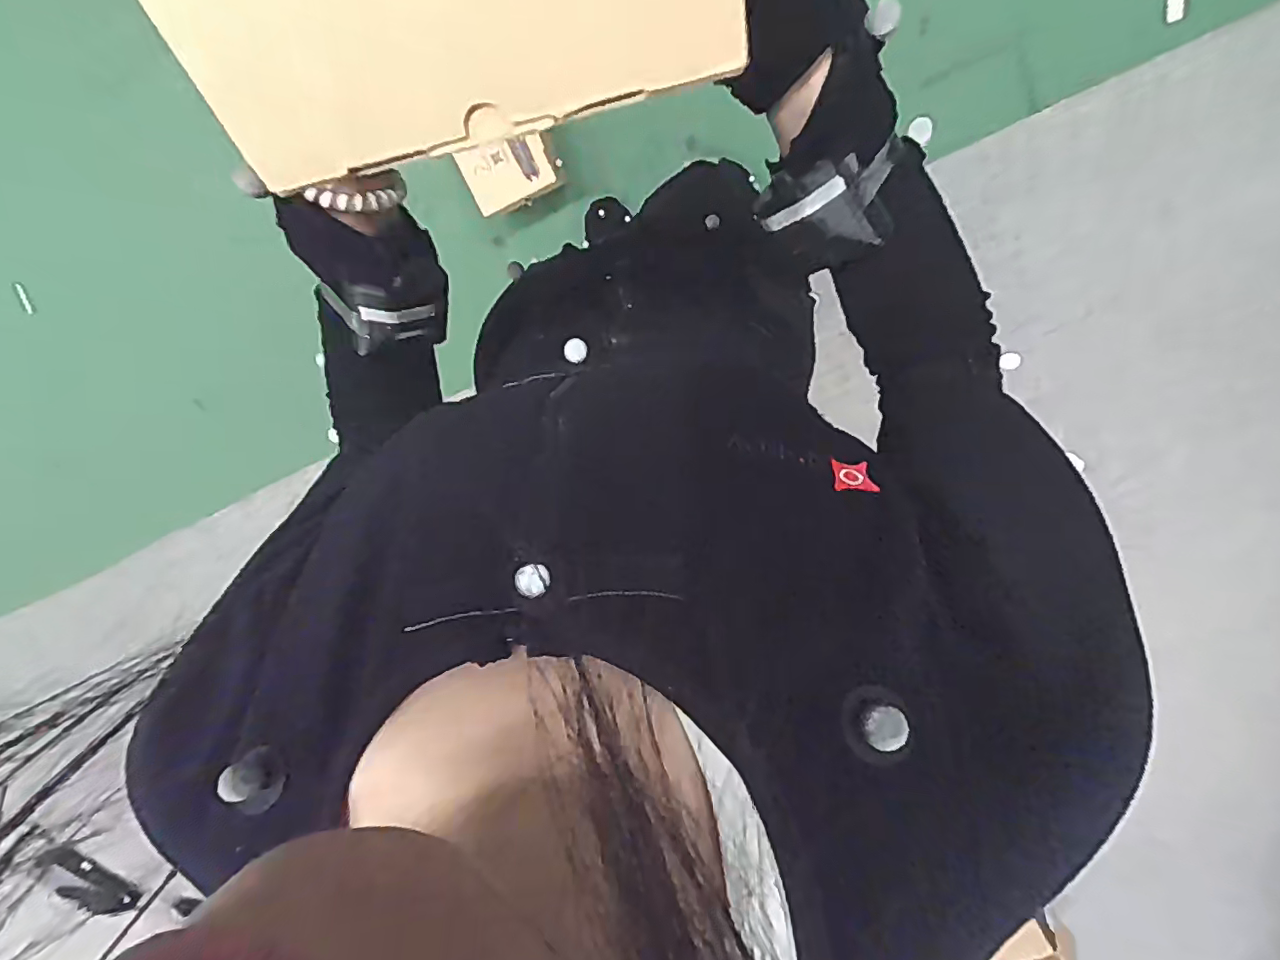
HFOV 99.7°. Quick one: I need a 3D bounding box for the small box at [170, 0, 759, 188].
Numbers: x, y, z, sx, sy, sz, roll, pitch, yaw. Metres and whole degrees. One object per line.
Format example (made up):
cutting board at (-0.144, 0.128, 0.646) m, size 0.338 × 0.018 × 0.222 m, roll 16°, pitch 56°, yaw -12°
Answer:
small box at (-0.060, -0.230, 0.171) m, size 0.168 × 0.176 × 0.179 m, roll -8°, pitch 138°, yaw 10°
